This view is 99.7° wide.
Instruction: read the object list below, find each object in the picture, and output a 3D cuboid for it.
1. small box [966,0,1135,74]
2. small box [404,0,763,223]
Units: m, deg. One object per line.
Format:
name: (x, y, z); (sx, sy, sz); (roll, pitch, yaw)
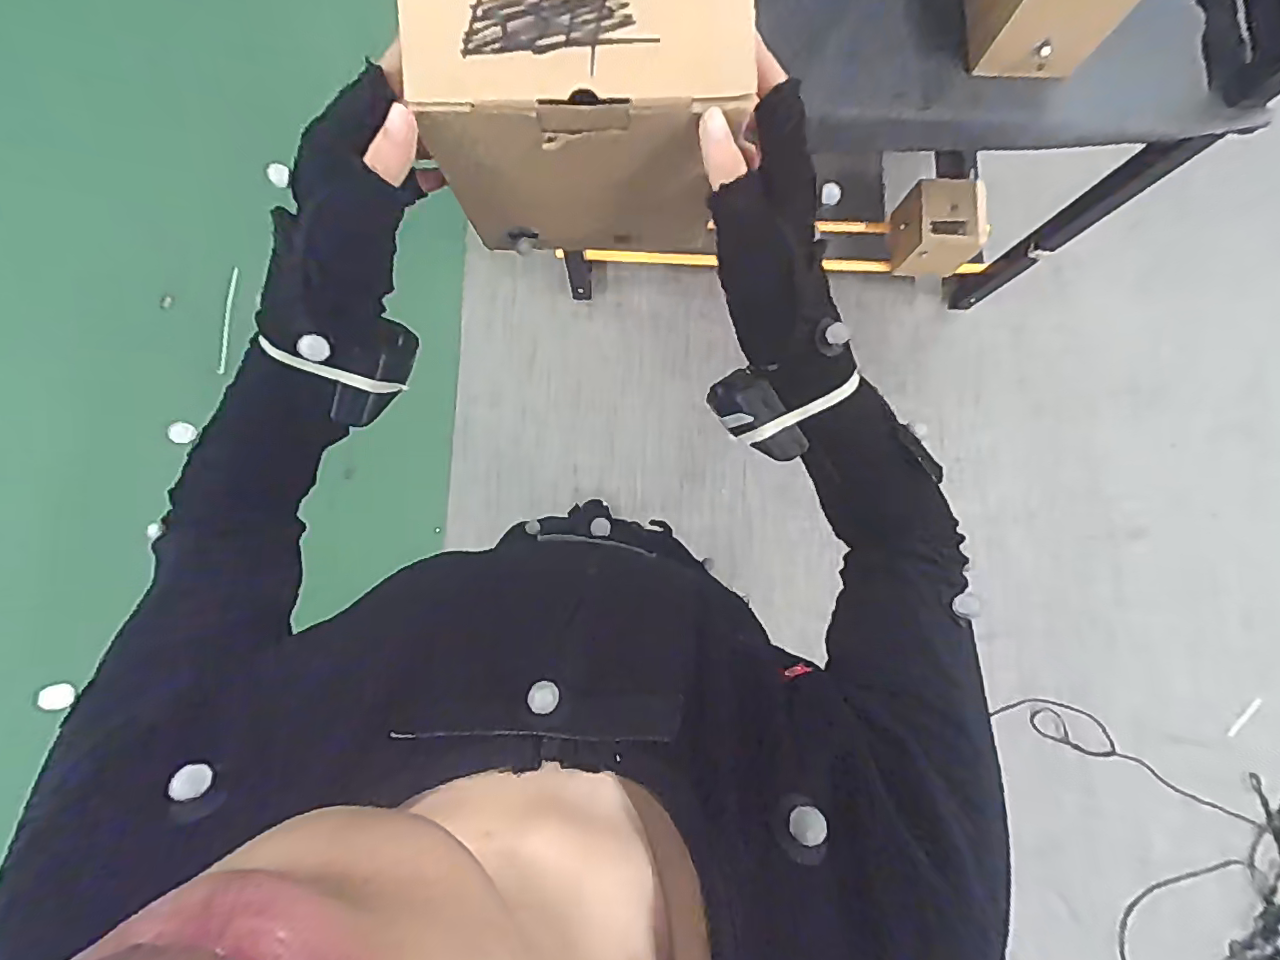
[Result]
small box: (0.613, -0.753, 0.801); (0.168, 0.176, 0.179); (0, 82, -1)
small box: (-0.030, -0.273, 0.324); (0.168, 0.176, 0.179); (-2, 90, -3)
